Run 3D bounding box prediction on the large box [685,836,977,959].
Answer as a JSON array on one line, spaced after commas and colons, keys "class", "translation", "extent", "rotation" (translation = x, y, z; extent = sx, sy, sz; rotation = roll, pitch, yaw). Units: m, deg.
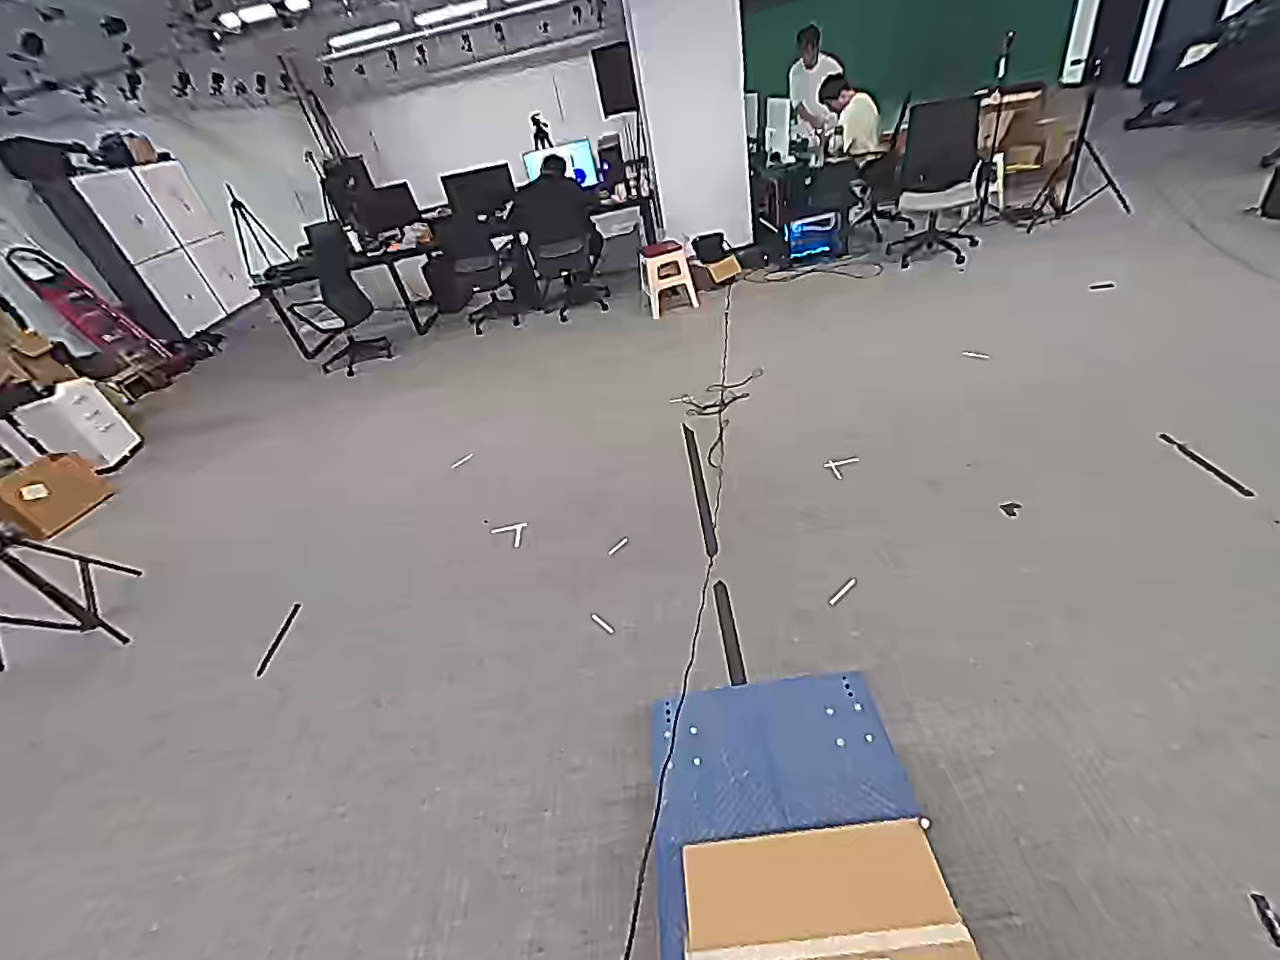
[{"class": "large box", "translation": [0.302, 0.822, 0.854], "extent": [0.408, 0.320, 0.320], "rotation": [-10, 35, 5]}]
